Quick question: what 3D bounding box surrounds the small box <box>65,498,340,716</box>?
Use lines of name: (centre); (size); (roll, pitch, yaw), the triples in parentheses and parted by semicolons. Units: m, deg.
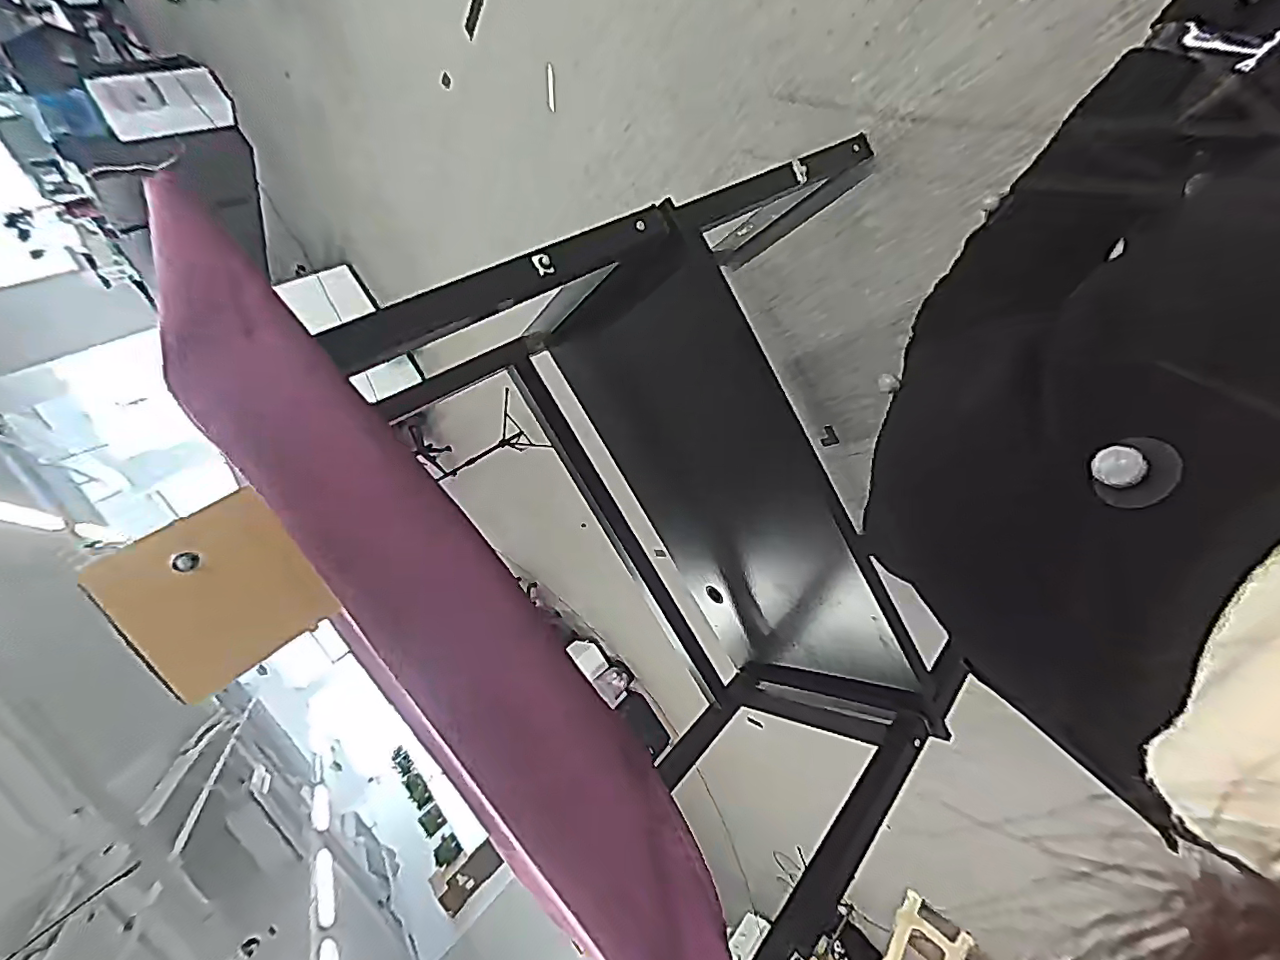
small box: (-0.488, 0.132, 0.633); (0.168, 0.176, 0.179); (-11, 113, 57)
